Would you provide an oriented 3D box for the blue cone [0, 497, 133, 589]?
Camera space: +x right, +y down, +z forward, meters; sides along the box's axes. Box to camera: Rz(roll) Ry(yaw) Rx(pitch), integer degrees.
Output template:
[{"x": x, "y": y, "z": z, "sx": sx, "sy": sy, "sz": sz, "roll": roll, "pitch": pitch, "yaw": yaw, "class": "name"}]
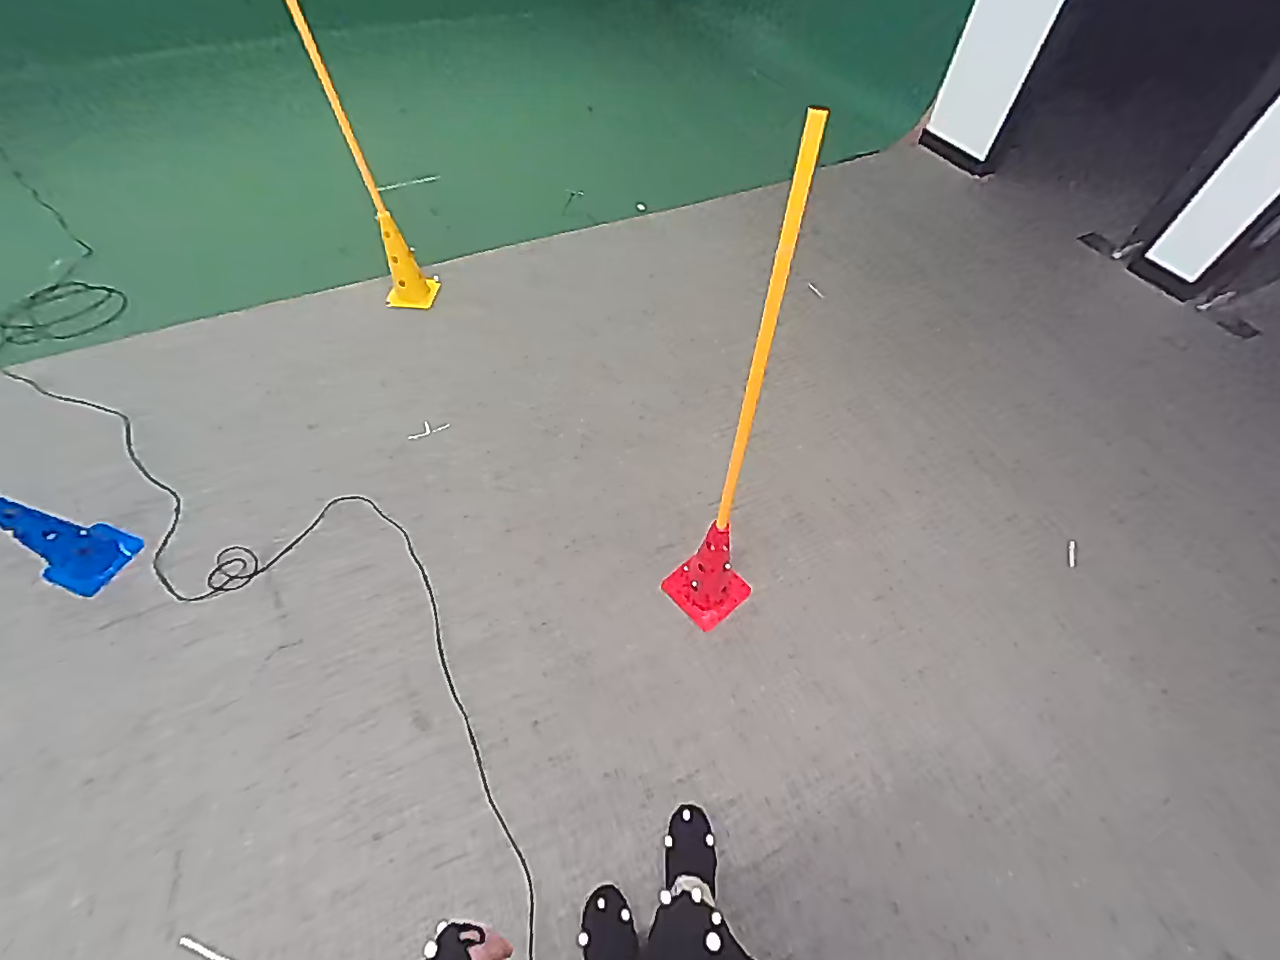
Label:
[{"x": -1.622, "y": 0.131, "z": 1.456, "sx": 0.192, "sy": 0.380, "sz": 0.193, "roll": 18, "pitch": 59, "yaw": 10, "class": "blue cone"}]
